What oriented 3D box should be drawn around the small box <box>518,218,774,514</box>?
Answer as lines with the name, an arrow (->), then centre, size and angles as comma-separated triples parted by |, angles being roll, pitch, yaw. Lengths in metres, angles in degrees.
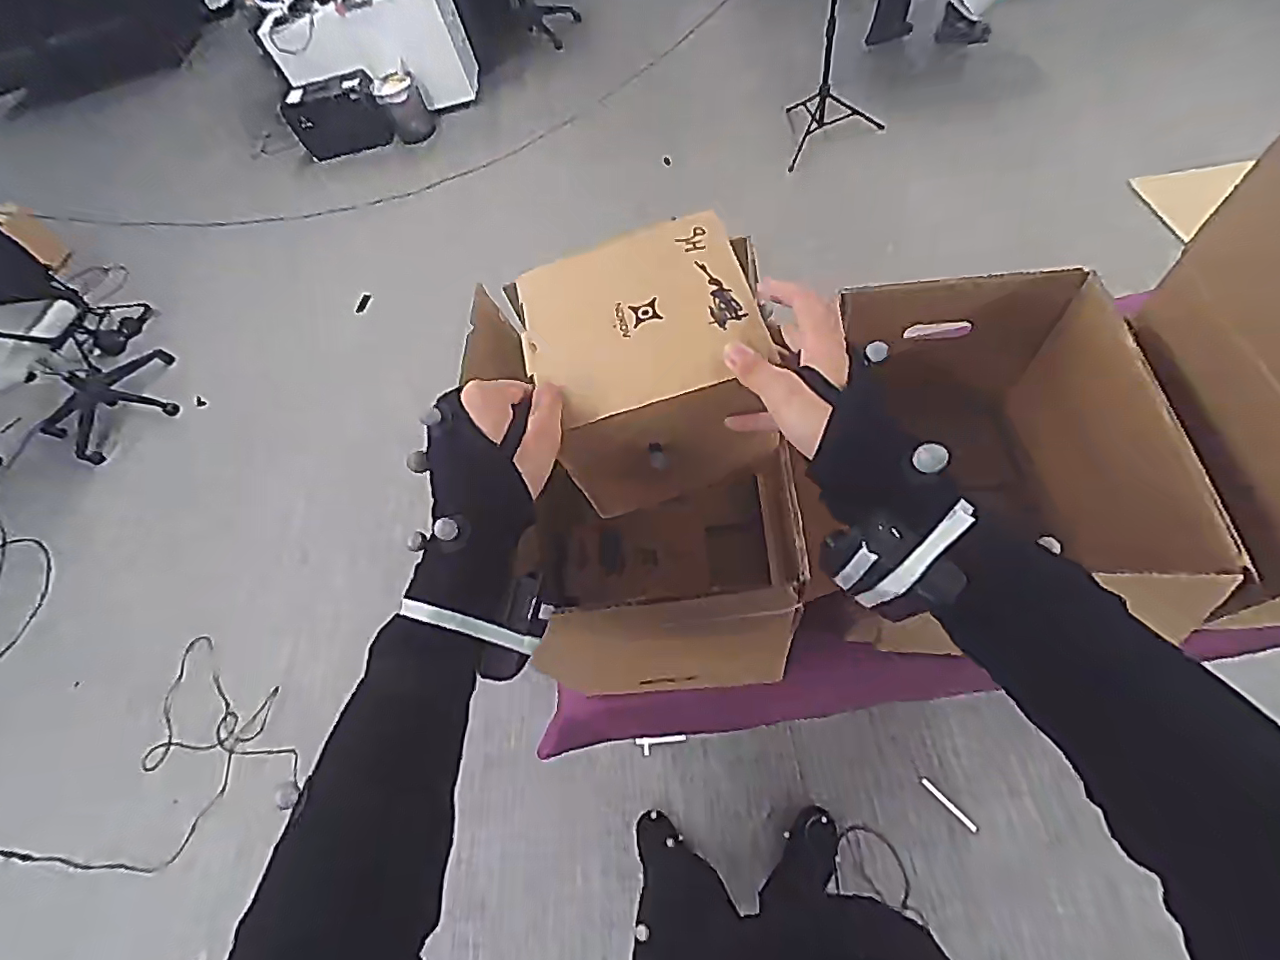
small box -> 0.013, -0.087, 0.485 | 0.179, 0.176, 0.168 | -17, 63, 6
